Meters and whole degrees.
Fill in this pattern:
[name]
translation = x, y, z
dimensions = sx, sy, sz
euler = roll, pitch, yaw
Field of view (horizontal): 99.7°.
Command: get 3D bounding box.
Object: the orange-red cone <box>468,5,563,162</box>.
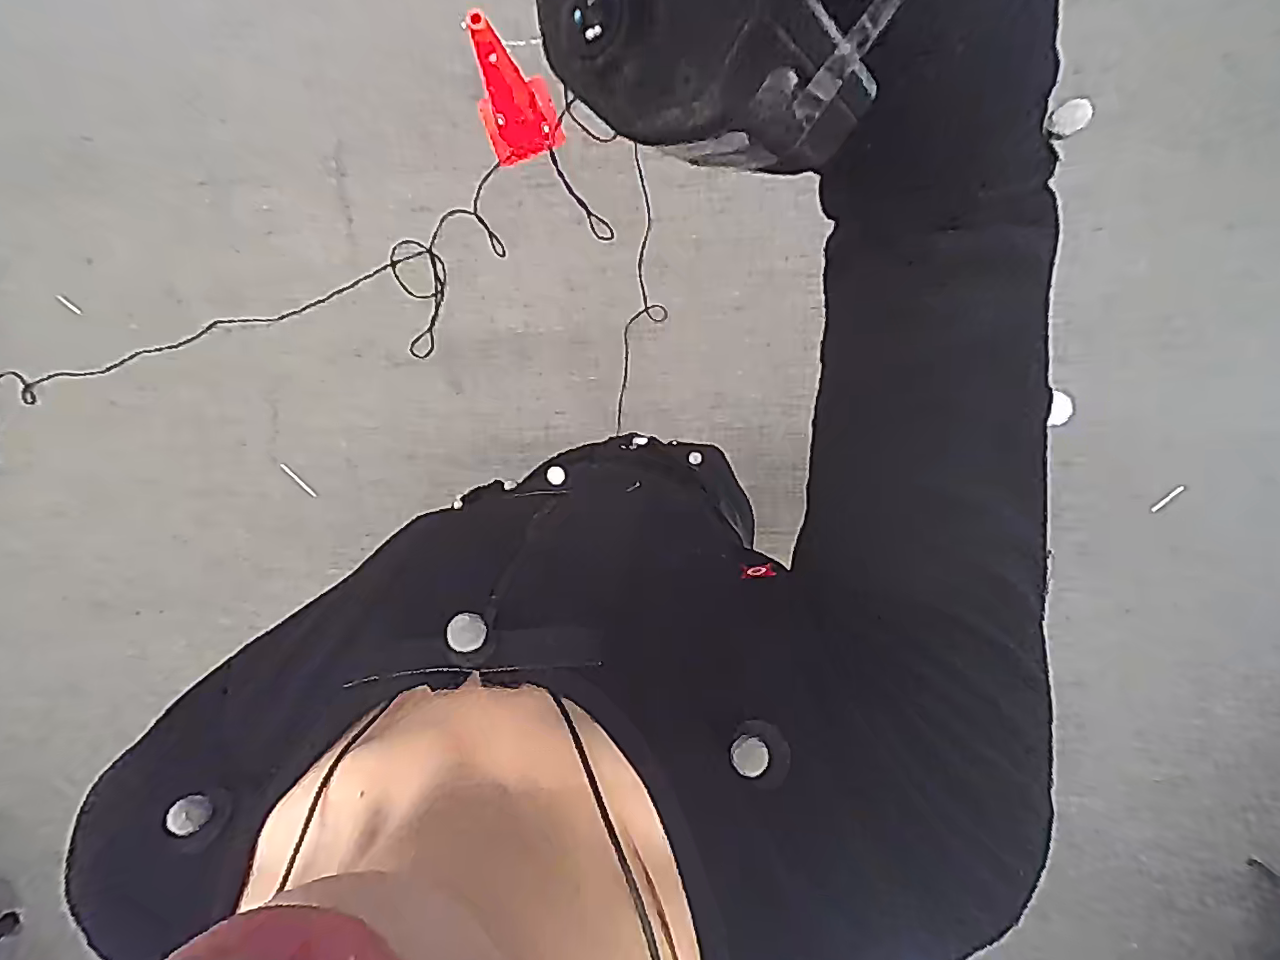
[orange-red cone]
translation = -0.340, -0.996, 1.324
dimensions = 0.198, 0.360, 0.199
euler = -20, 89, 3
